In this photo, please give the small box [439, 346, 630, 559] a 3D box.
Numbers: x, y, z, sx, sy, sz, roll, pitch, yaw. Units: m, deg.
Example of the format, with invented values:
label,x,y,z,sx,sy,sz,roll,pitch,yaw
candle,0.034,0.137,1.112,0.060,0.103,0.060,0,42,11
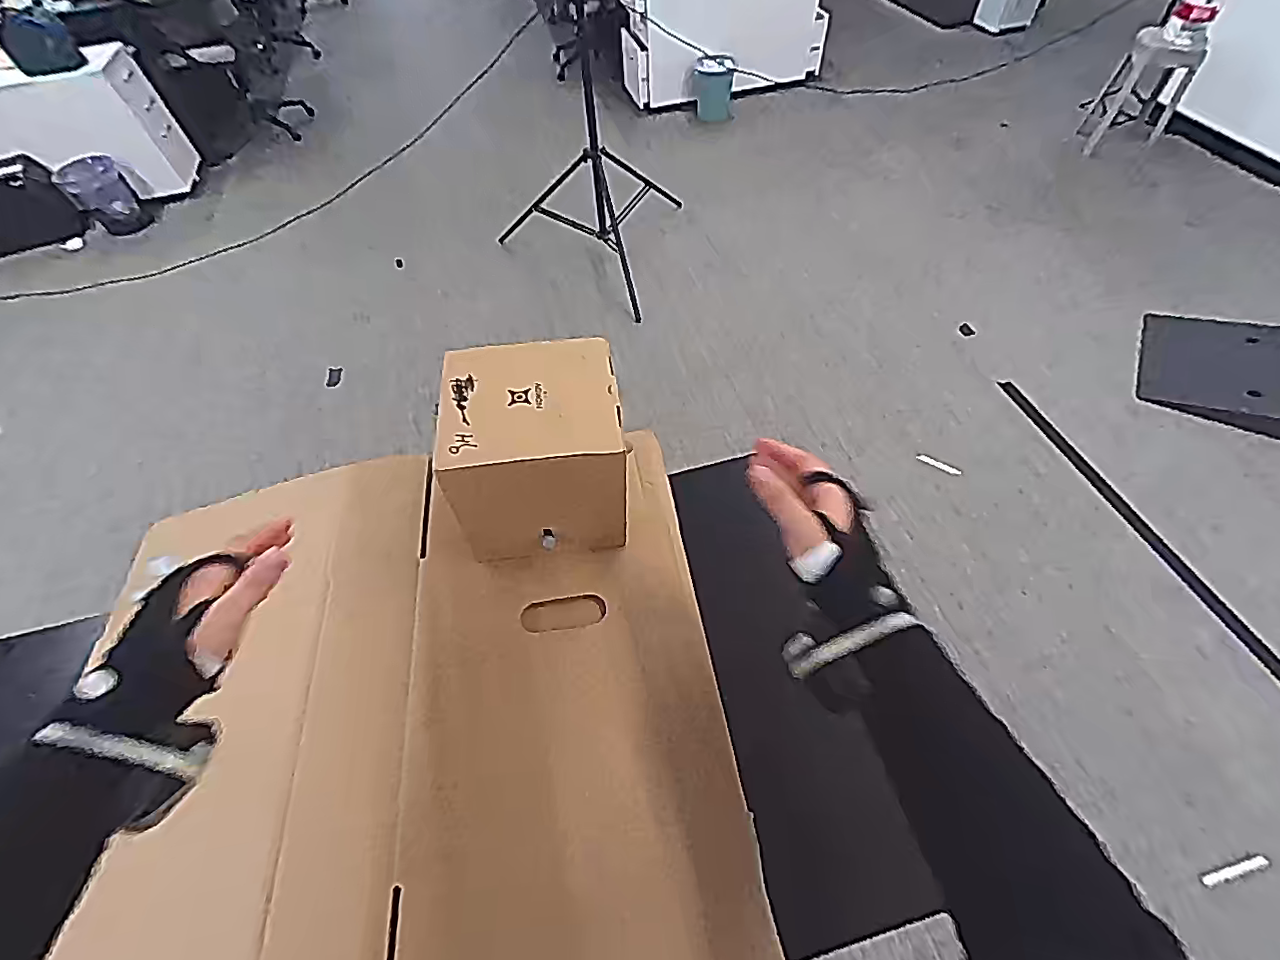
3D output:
label,x,y,z,sx,sy,sz,roll,pitch,yaw
small box,-0.109,-0.028,0.605,0.179,0.176,0.168,-6,51,-7
